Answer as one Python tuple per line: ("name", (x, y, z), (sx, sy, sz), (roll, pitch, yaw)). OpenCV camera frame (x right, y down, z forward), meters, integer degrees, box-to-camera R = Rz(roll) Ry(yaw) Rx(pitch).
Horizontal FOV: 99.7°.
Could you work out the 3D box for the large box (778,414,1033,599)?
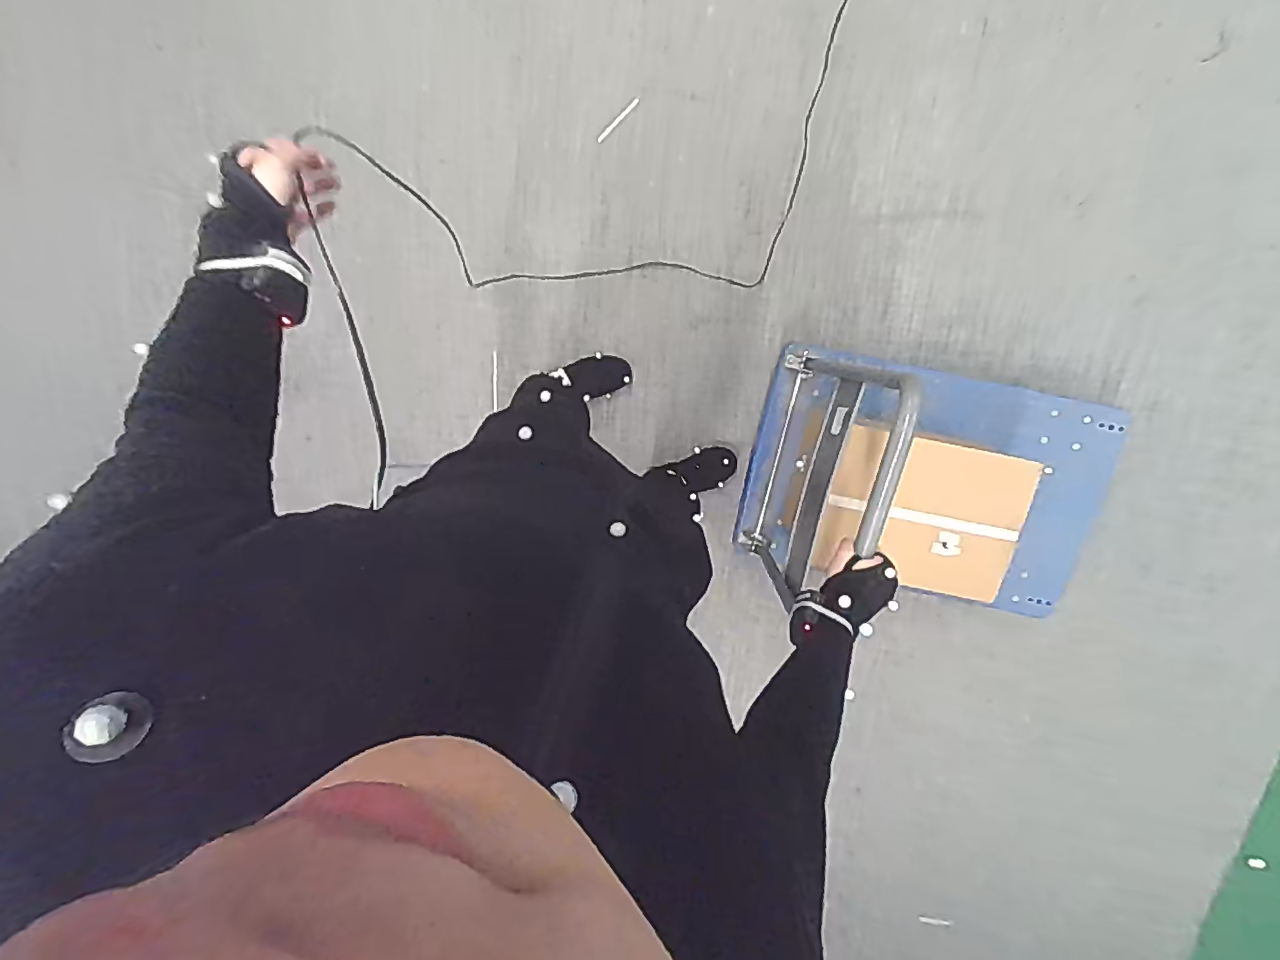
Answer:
("large box", (0.576, 0.041, 1.264), (0.408, 0.320, 0.320), (12, 104, 0))
